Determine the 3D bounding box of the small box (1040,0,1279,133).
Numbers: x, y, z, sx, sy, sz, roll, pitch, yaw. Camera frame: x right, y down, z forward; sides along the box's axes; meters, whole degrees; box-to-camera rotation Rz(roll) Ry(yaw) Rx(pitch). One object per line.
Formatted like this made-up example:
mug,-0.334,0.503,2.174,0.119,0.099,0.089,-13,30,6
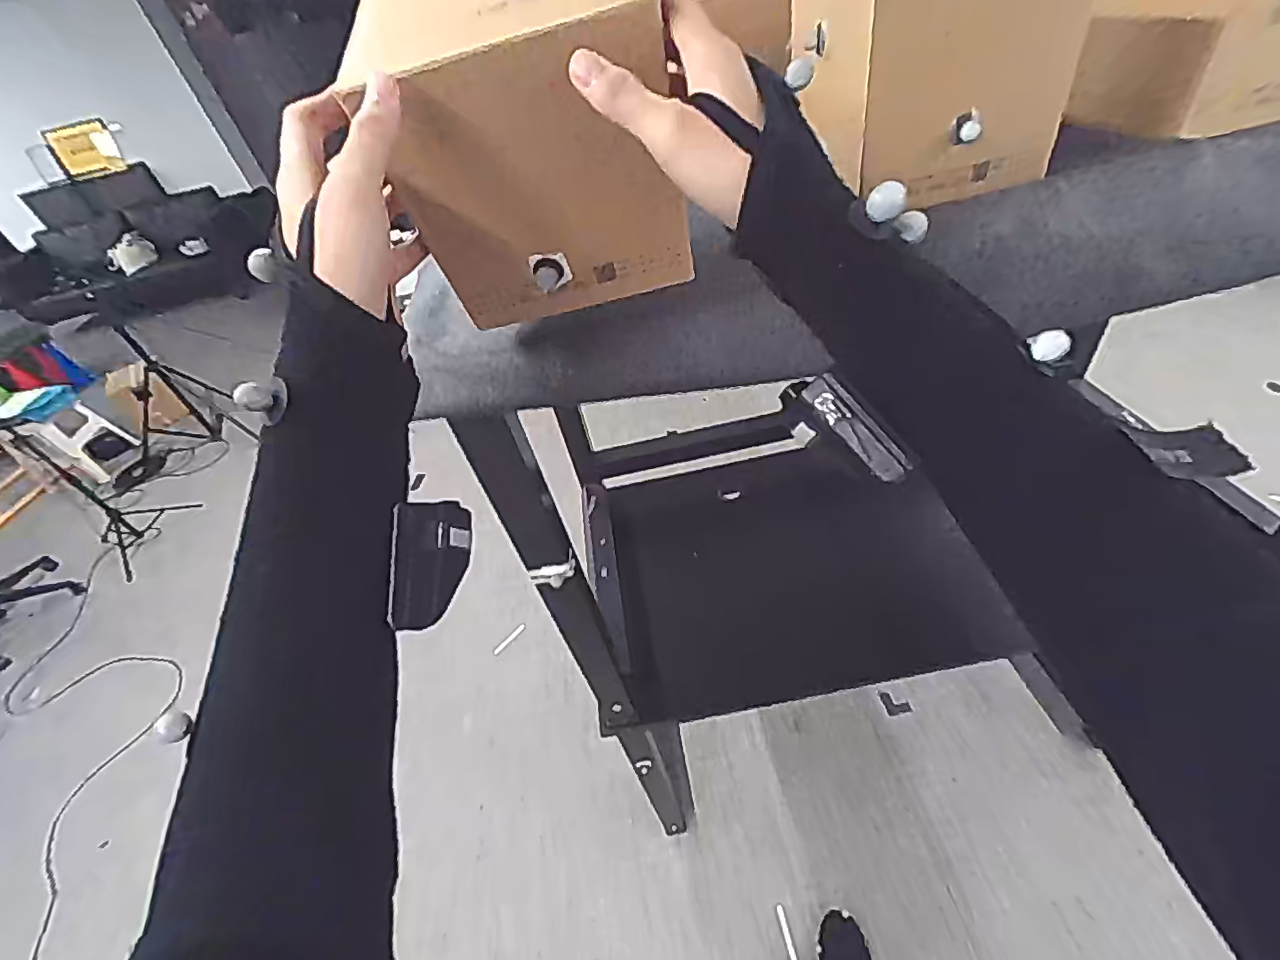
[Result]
small box,0.509,-0.426,0.478,0.168,0.176,0.179,-13,40,1

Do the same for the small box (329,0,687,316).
small box,-0.070,-0.245,0.368,0.168,0.176,0.179,-13,58,5
